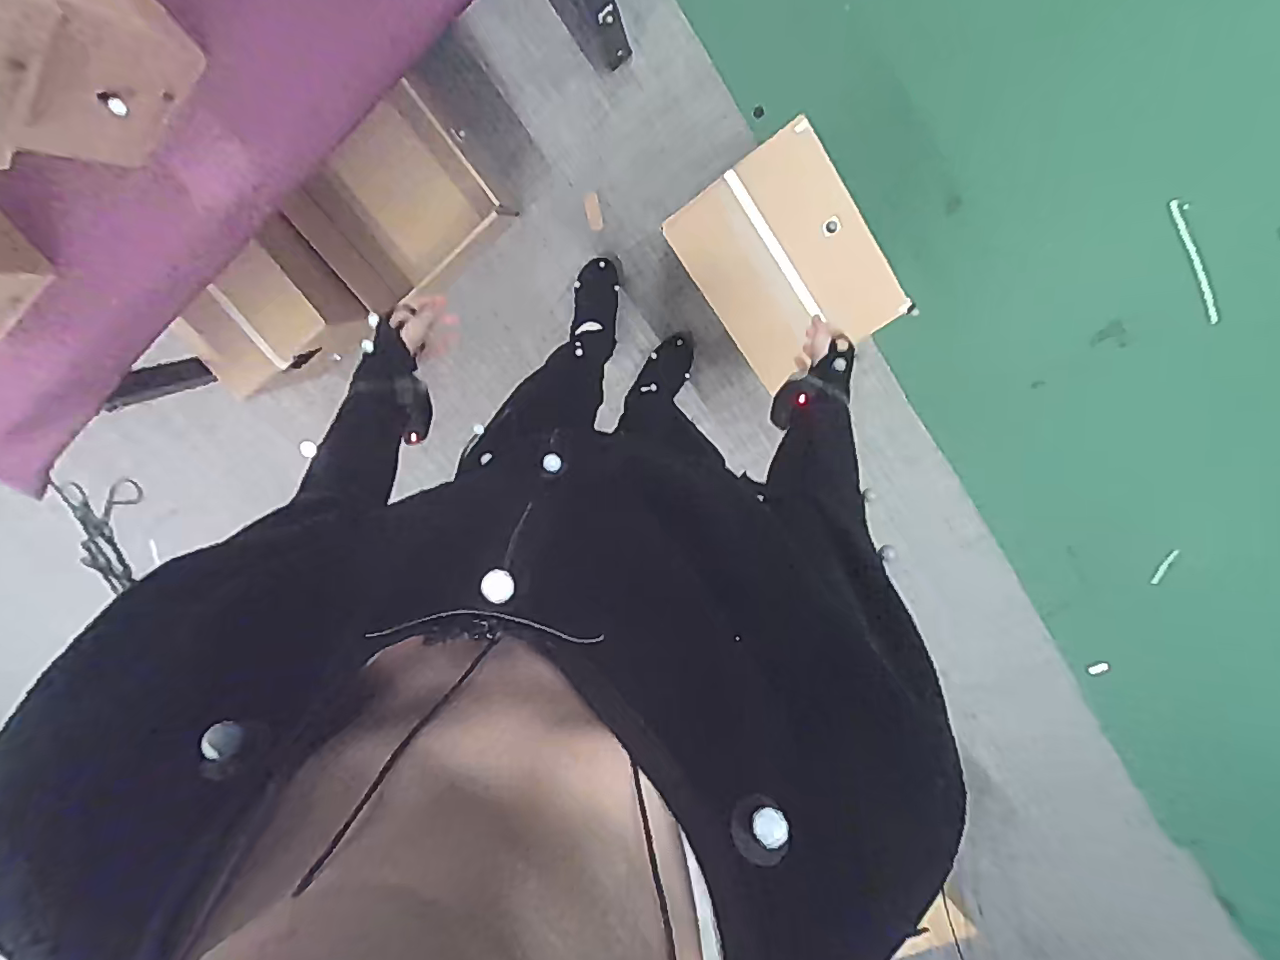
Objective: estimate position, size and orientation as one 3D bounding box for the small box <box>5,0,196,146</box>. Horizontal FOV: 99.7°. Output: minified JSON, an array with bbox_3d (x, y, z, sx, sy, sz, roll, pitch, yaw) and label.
[{"bbox_3d":[-0.602,-0.462,0.528,0.168,0.176,0.179,-37,105,17],"label":"small box"}]

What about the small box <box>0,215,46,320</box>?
[{"bbox_3d":[-0.890,-0.279,0.629,0.168,0.176,0.179,-31,107,16],"label":"small box"}]
